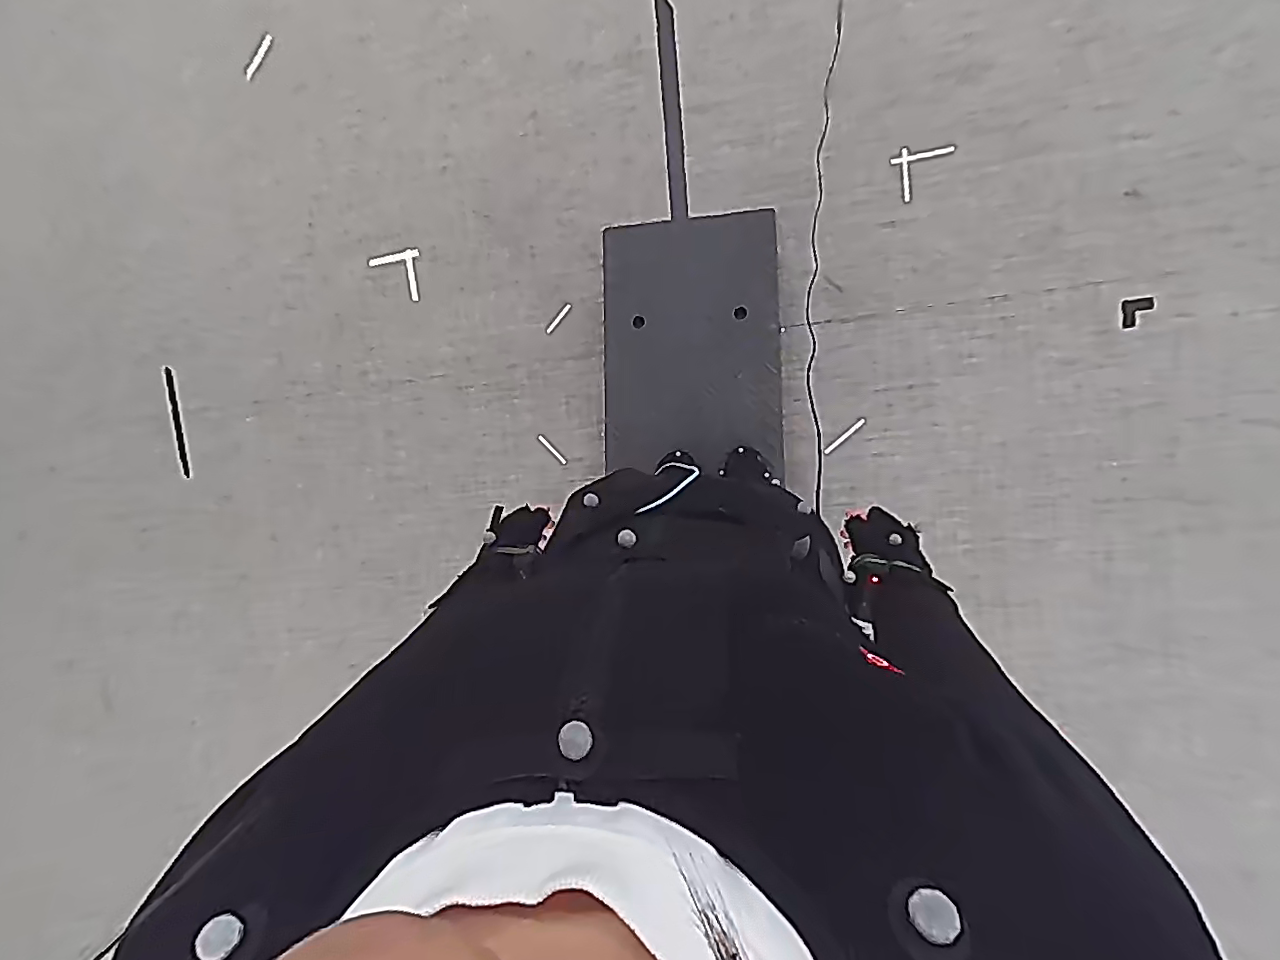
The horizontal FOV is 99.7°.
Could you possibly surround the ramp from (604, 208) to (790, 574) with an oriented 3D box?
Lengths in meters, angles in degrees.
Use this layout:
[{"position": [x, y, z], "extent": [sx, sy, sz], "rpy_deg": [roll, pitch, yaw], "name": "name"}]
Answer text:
[{"position": [0.140, -0.245, 1.492], "extent": [0.509, 0.206, 0.991], "rpy_deg": [-4, 94, 12], "name": "ramp"}]
